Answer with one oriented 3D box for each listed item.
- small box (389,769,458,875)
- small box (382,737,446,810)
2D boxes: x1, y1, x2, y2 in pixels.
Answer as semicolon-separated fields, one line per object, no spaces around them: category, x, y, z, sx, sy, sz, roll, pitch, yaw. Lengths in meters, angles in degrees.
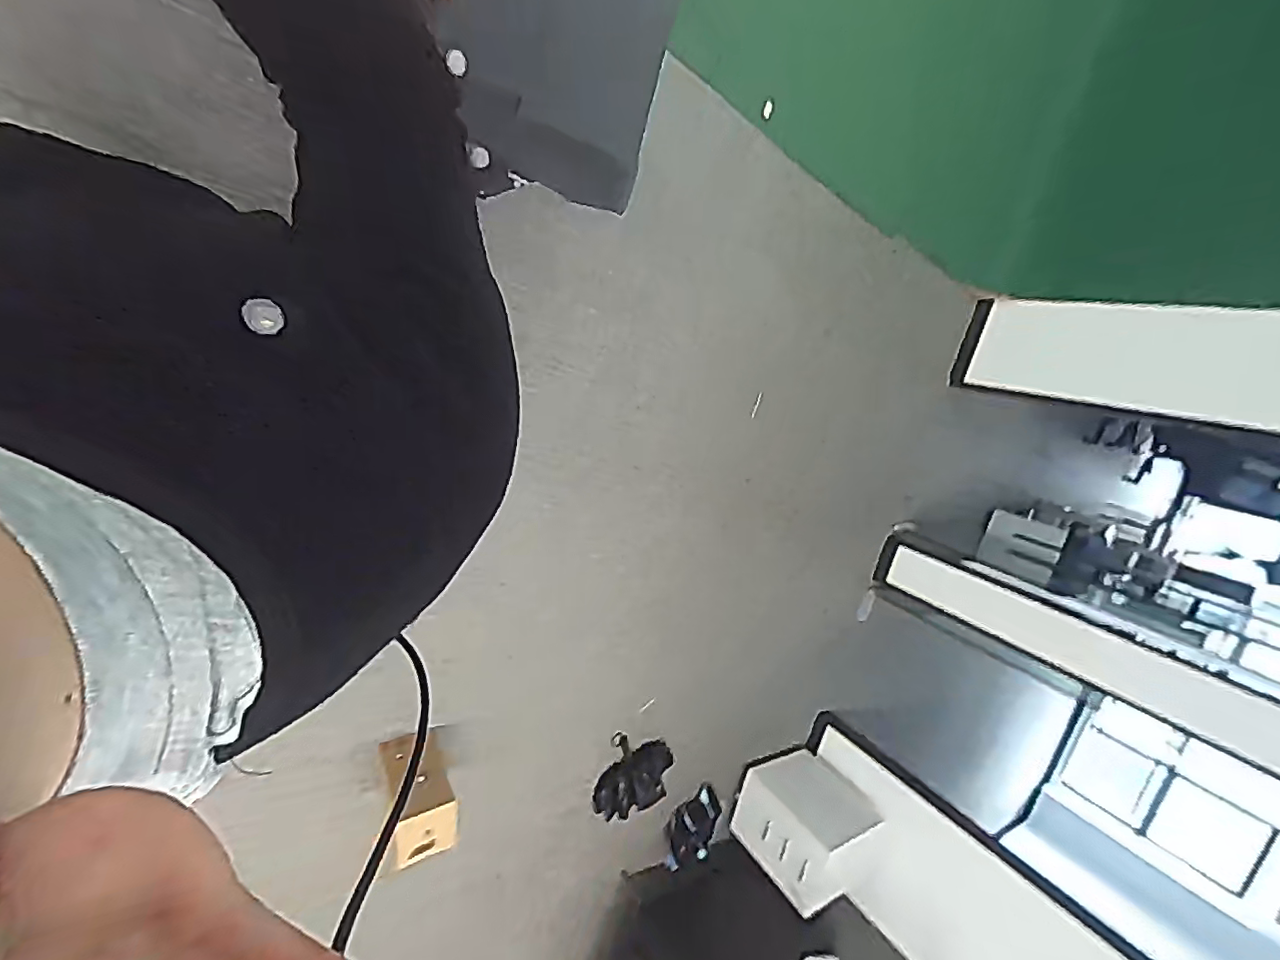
small box;-0.651;1.015;1.620;0.168;0.176;0.179;-5;109;-33
small box;-0.735;0.968;1.754;0.168;0.176;0.179;-6;112;-32
